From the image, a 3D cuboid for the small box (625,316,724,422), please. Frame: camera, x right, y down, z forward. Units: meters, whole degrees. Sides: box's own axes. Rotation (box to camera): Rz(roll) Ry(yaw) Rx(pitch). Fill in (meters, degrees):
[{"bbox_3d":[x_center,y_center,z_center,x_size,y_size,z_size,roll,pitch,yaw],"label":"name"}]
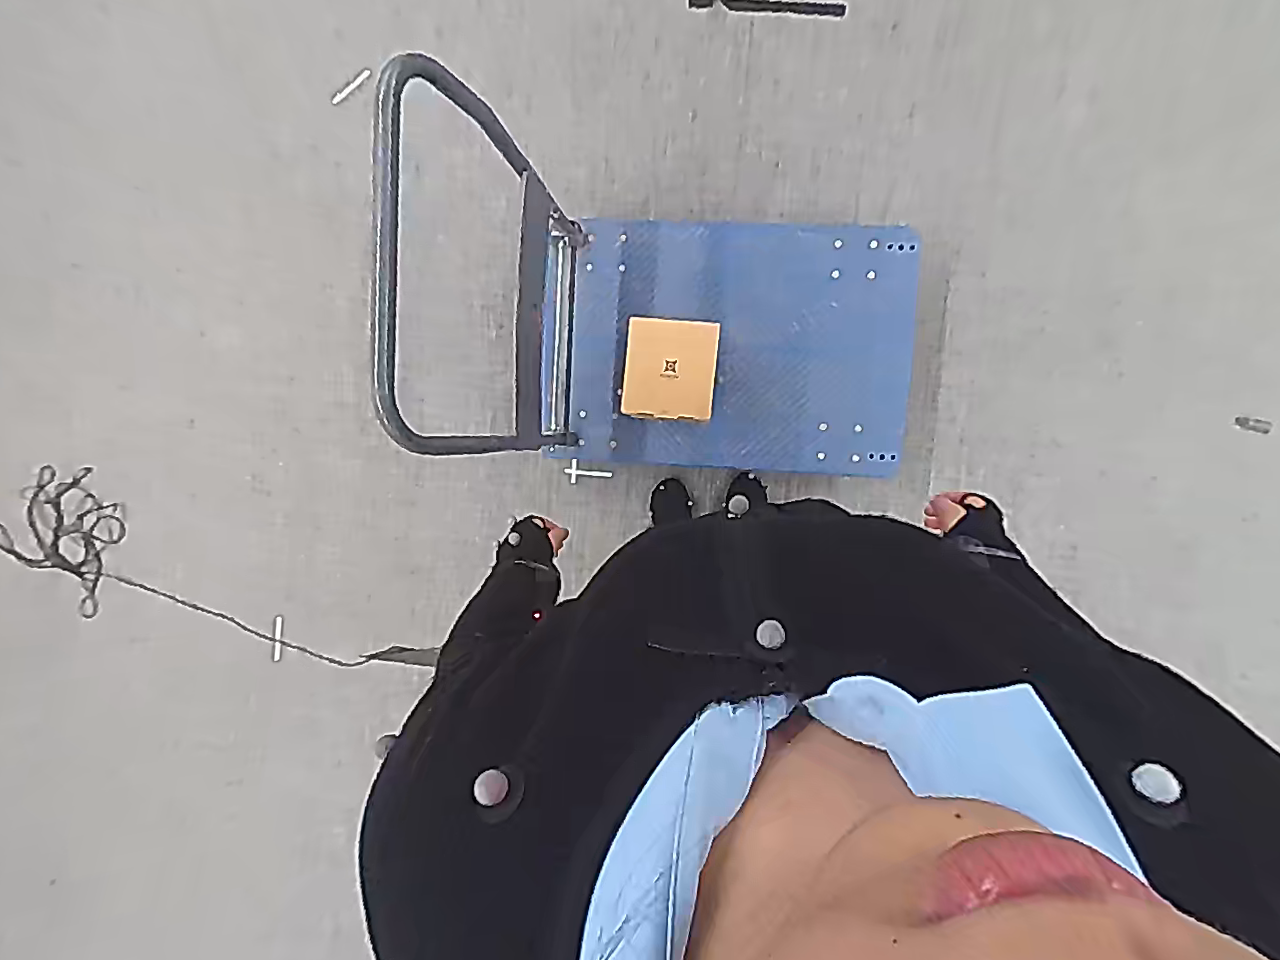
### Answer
[{"bbox_3d":[0.067,-0.208,1.051,0.168,0.176,0.179,6,96,5],"label":"small box"}]
